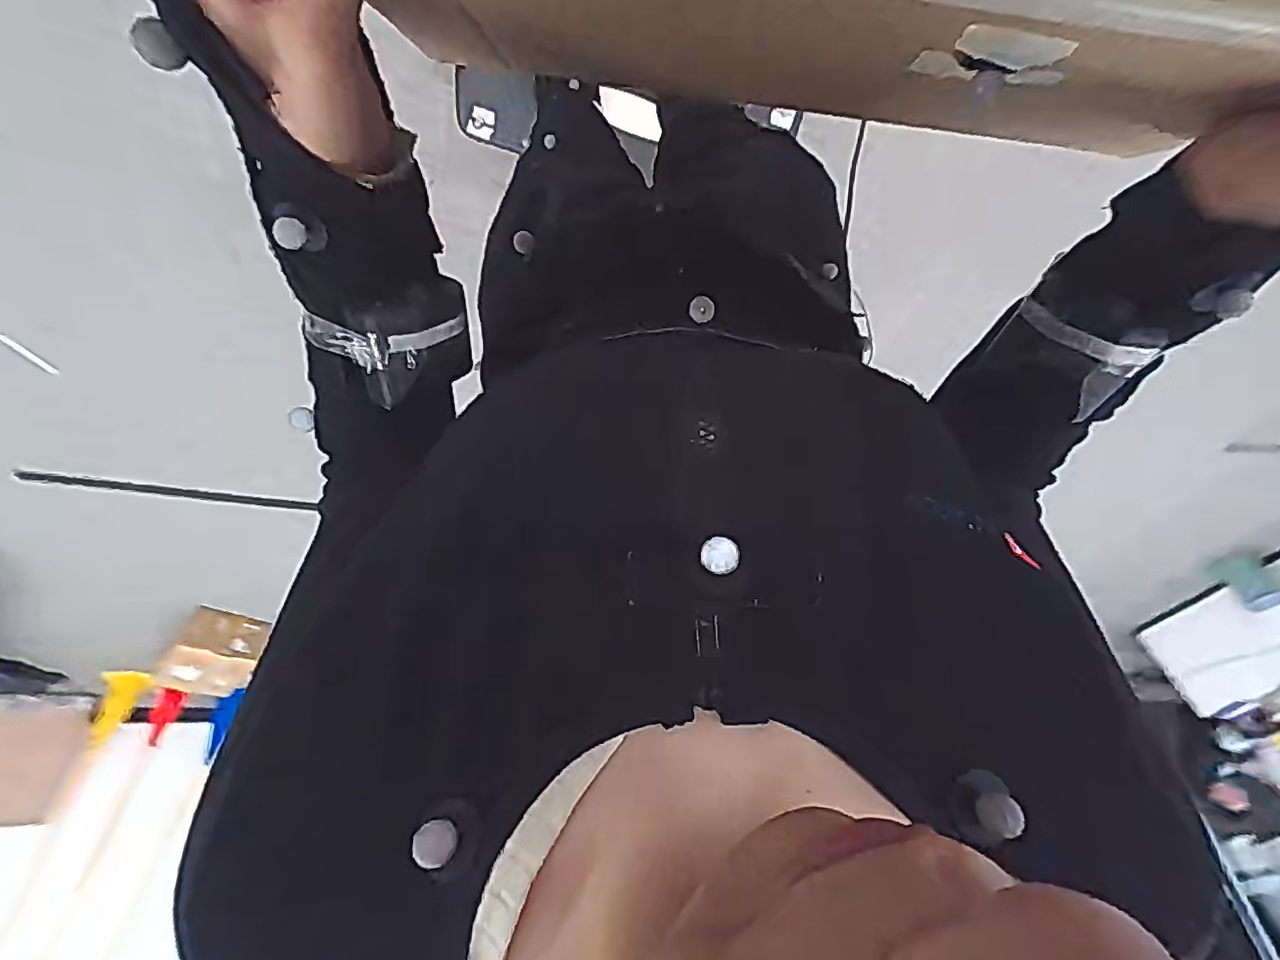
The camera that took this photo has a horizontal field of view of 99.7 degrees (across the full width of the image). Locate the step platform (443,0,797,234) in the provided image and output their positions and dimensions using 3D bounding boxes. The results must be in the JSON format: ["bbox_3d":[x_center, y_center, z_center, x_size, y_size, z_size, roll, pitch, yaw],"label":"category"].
[{"bbox_3d":[-0.031,-0.767,1.087,0.684,0.204,0.286,14,132,-21],"label":"step platform"}]
